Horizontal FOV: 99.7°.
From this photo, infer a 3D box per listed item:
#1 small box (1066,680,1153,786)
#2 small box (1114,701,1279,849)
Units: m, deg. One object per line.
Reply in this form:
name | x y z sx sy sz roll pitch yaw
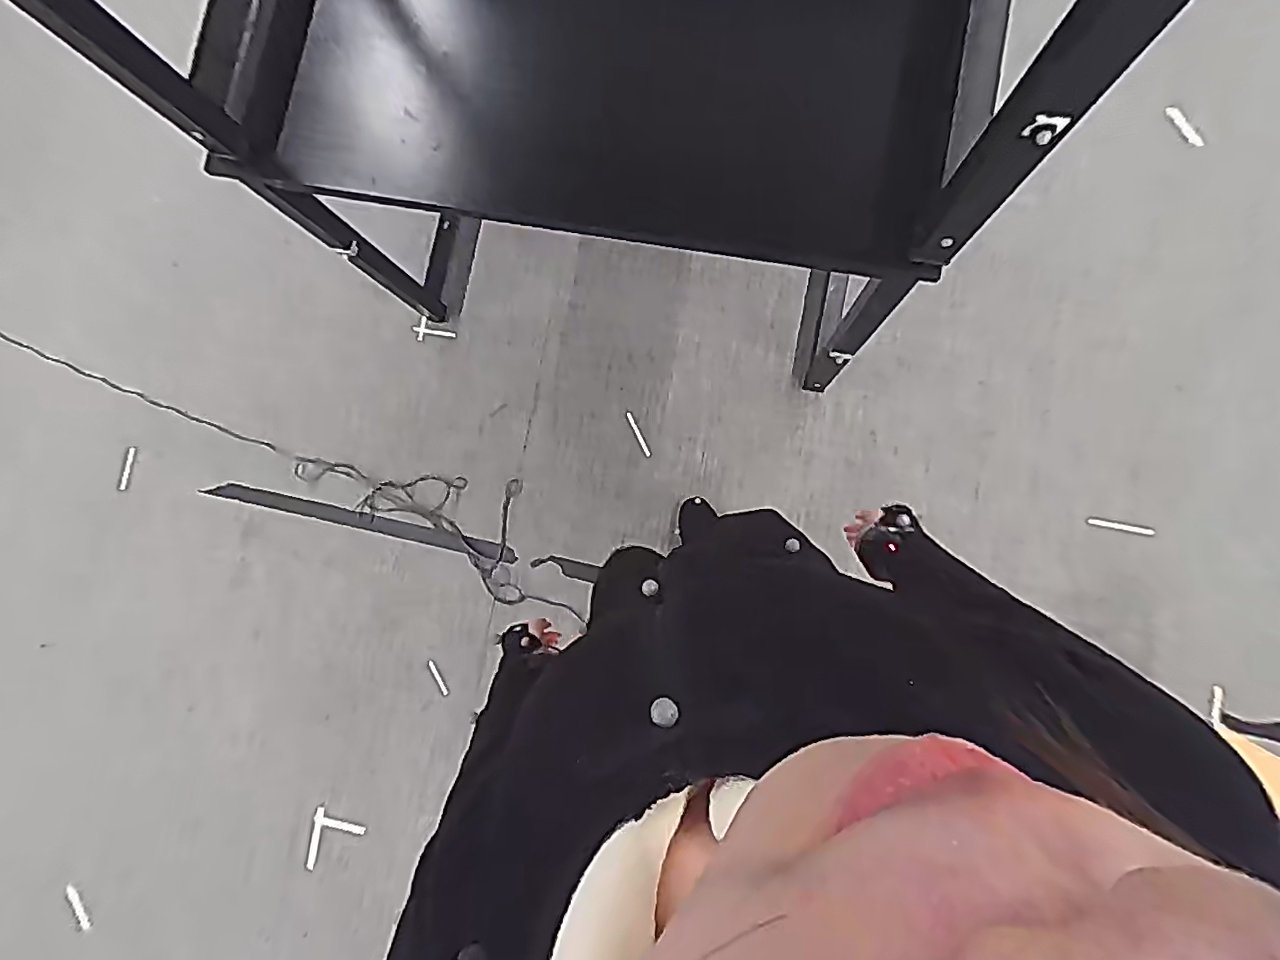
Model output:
small box | 1.153 0.600 1.269 0.168 0.176 0.179 16 89 7
small box | 1.138 0.587 1.105 0.168 0.176 0.179 29 89 8
